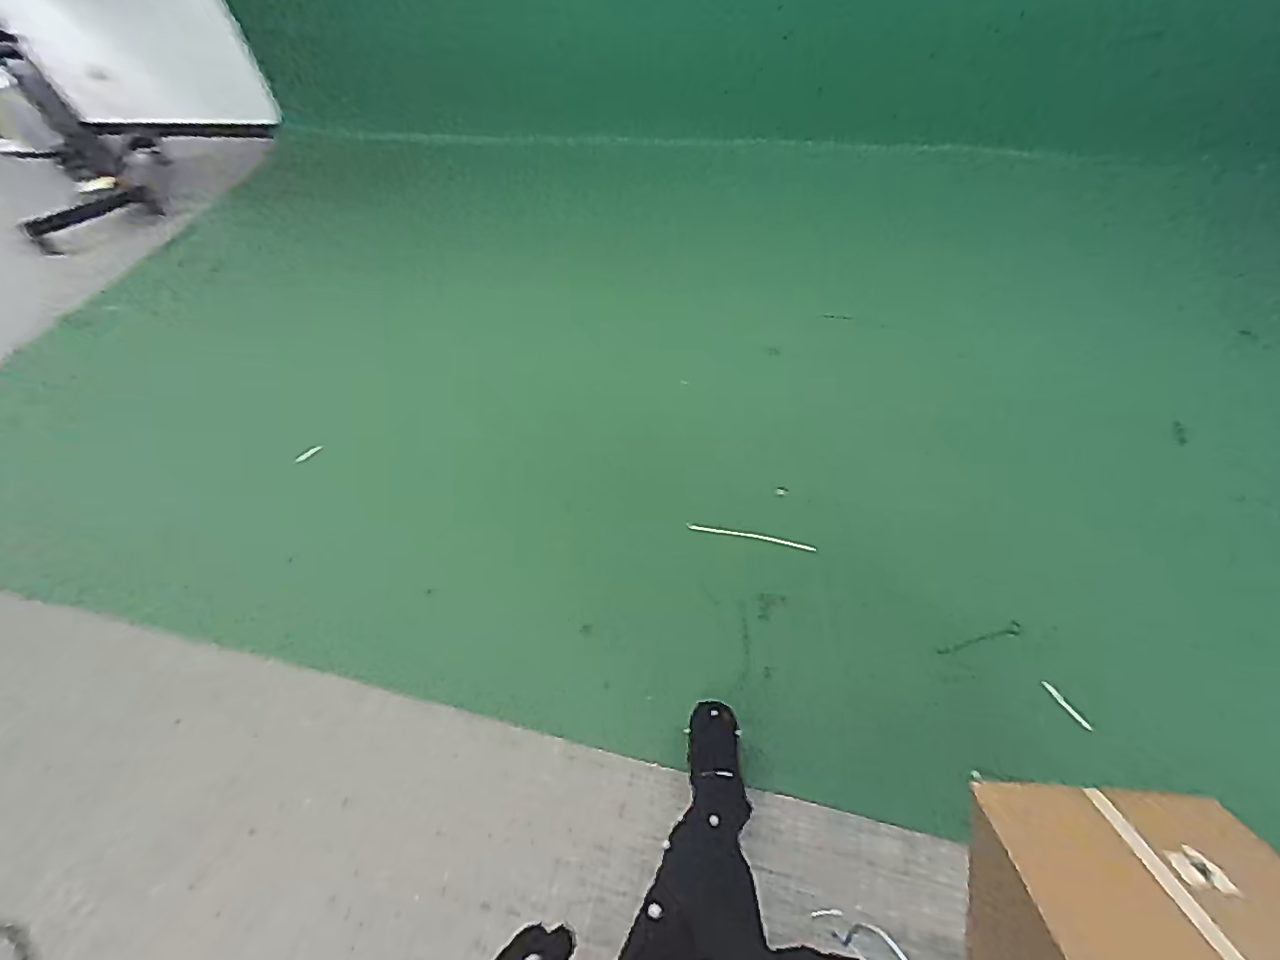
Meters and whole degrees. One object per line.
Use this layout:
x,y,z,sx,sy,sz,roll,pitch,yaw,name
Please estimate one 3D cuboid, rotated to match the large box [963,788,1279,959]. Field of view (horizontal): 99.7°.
0.617,0.642,0.626,0.320,0.408,0.320,-1,98,12,large box
